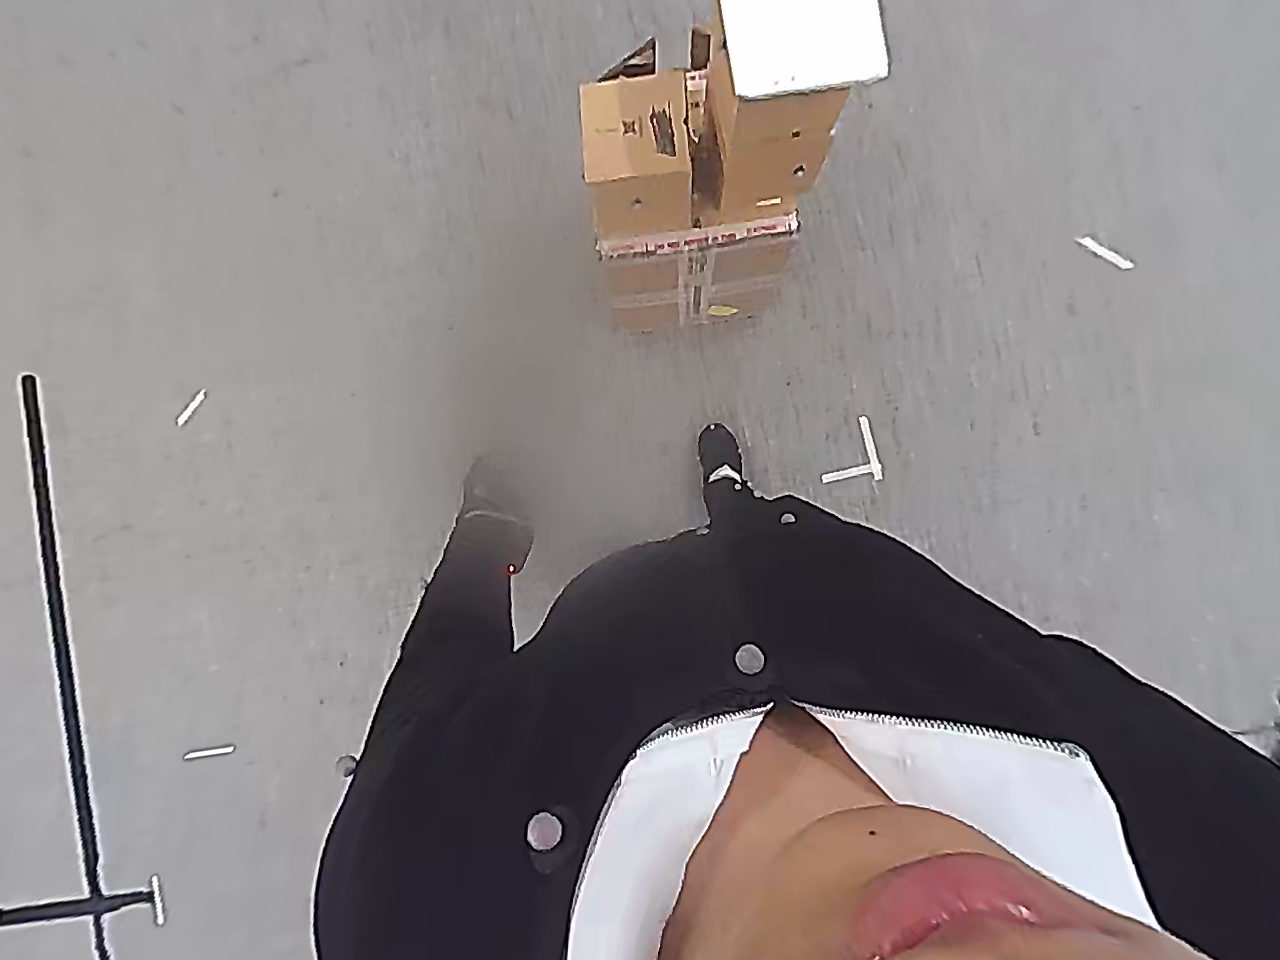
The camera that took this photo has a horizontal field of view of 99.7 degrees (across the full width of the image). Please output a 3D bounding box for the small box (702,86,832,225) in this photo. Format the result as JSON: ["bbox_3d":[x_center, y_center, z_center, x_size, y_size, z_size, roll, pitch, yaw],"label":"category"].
[{"bbox_3d":[0.215,-0.584,0.960,0.179,0.176,0.168,-12,88,3],"label":"small box"}]

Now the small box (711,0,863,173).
[{"bbox_3d":[0.203,-0.596,0.798,0.168,0.176,0.179,-10,88,2],"label":"small box"}]

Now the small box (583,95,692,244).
[{"bbox_3d":[0.002,-0.547,0.974,0.179,0.176,0.168,-3,89,6],"label":"small box"}]
